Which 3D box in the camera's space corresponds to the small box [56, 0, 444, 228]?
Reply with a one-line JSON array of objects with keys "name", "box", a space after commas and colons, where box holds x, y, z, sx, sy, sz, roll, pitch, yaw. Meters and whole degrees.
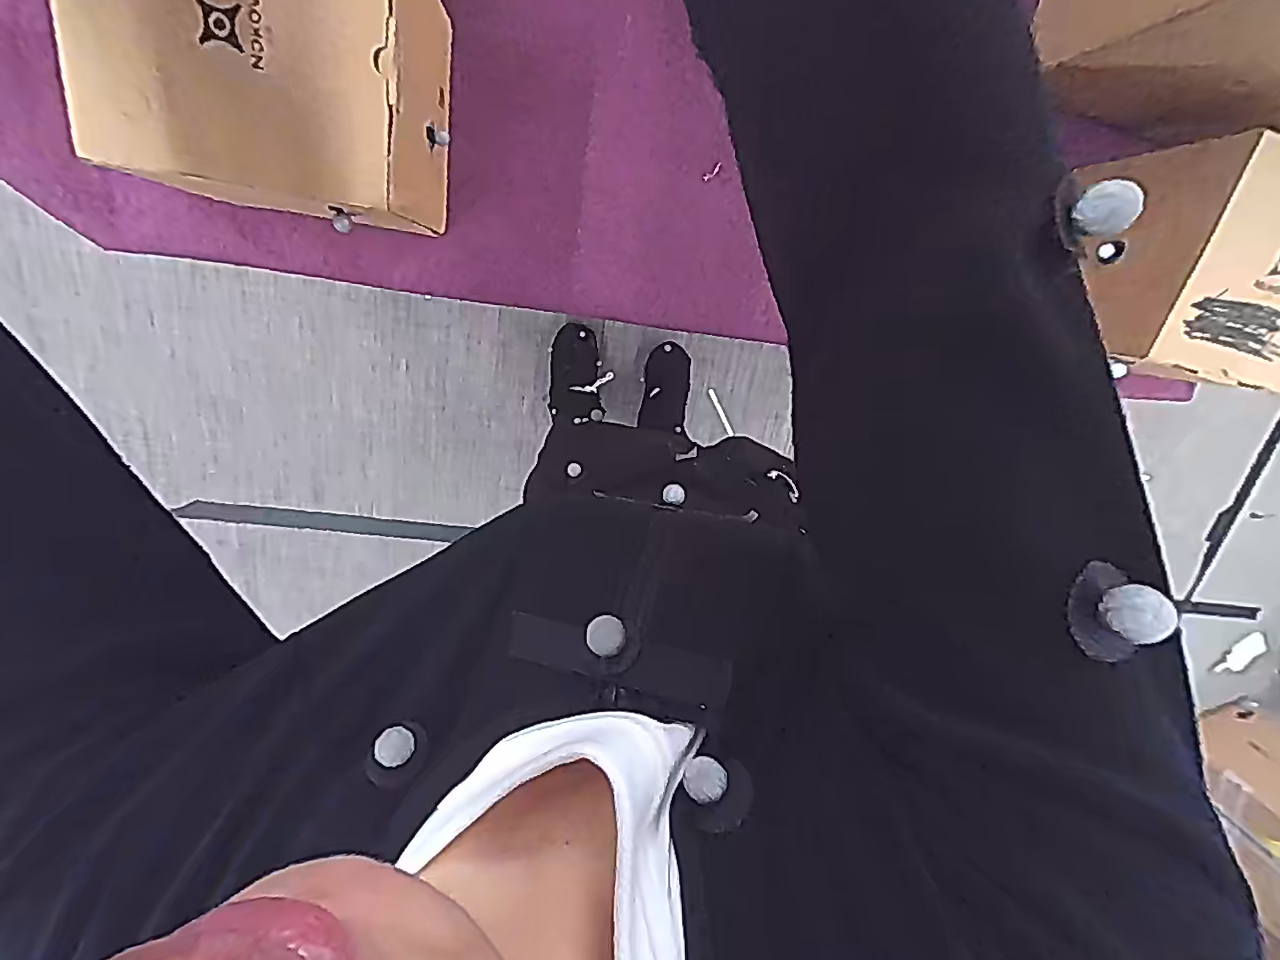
[{"name": "small box", "box": [-0.250, -0.287, 0.388, 0.179, 0.176, 0.168, 5, 109, -11]}]
